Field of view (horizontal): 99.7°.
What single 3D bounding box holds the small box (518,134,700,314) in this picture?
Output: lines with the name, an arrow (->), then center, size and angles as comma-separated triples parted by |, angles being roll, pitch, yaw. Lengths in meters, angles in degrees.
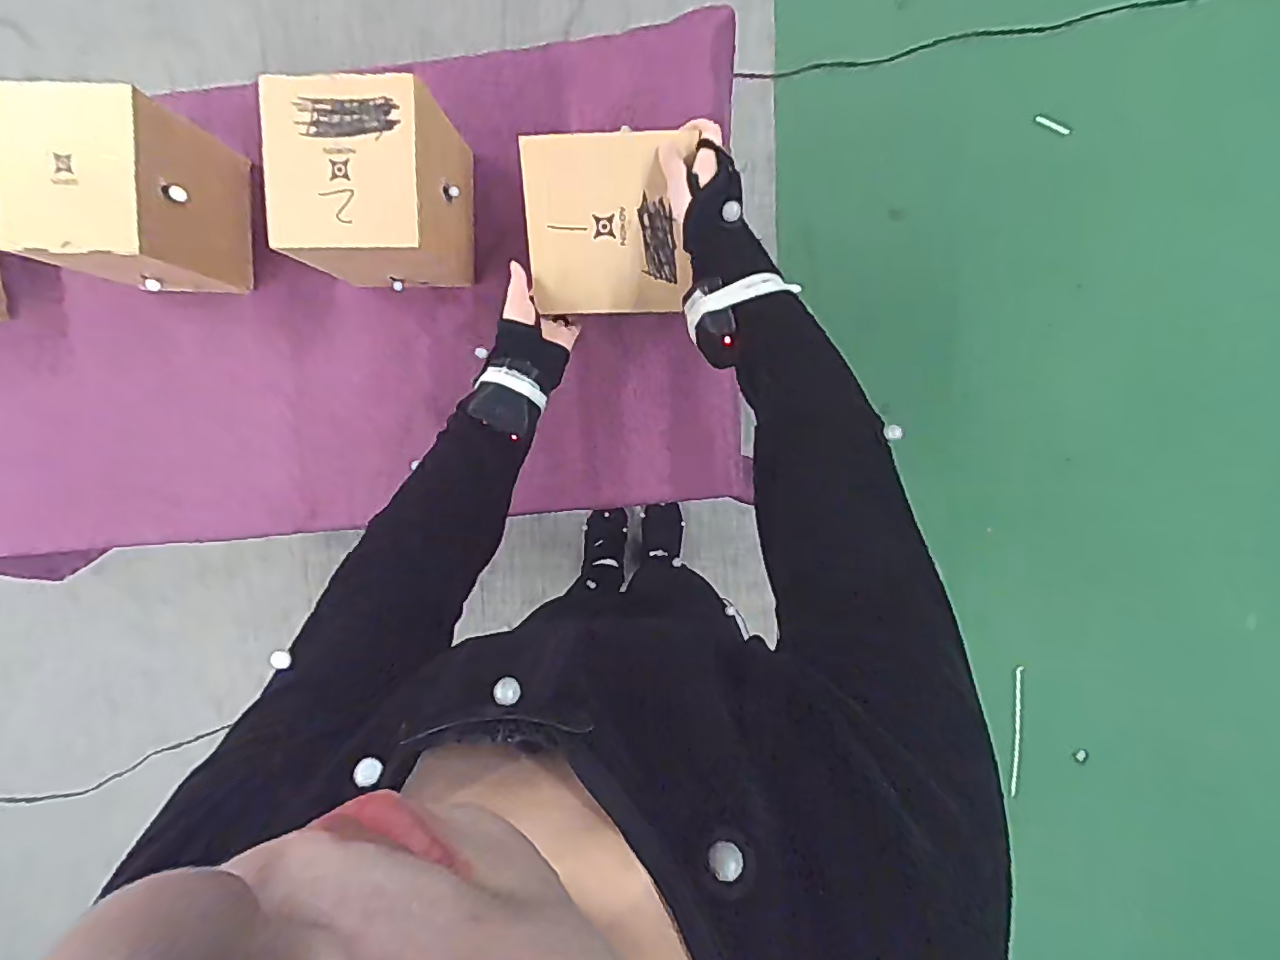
small box -> -0.026, -0.284, 0.615 | 0.179, 0.176, 0.168 | 1, 113, 4

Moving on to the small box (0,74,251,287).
small box -> -0.613, -0.349, 0.659 | 0.168, 0.176, 0.179 | 3, 97, 2
